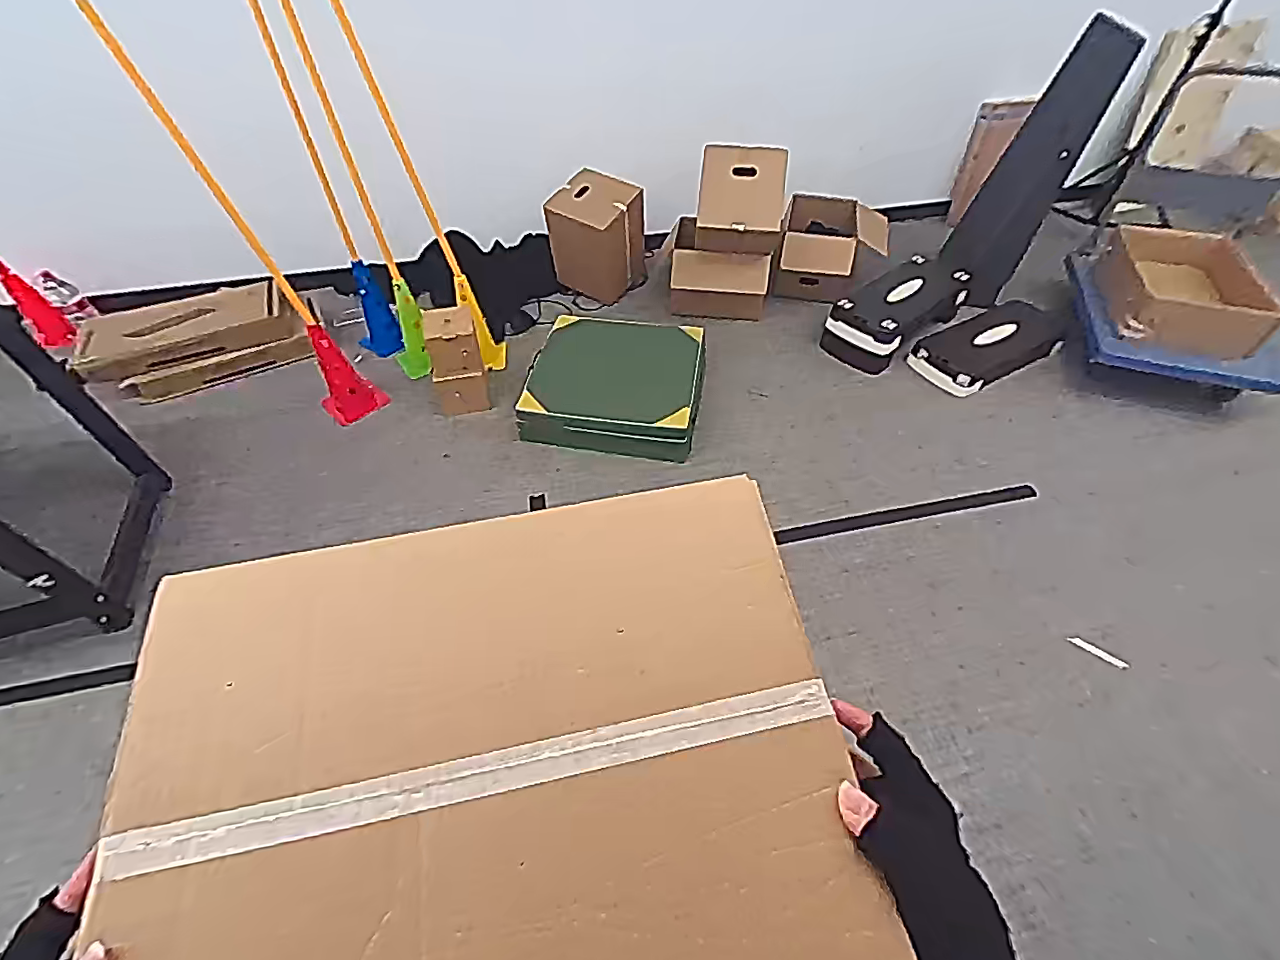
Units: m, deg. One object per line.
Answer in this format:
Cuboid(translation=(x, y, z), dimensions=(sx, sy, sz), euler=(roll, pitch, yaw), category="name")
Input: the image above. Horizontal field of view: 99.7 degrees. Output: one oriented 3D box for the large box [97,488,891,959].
Cuboid(translation=(-0.090, 0.240, 0.450), dimensions=(0.408, 0.320, 0.320), euler=(-10, 62, -5), category="large box")
